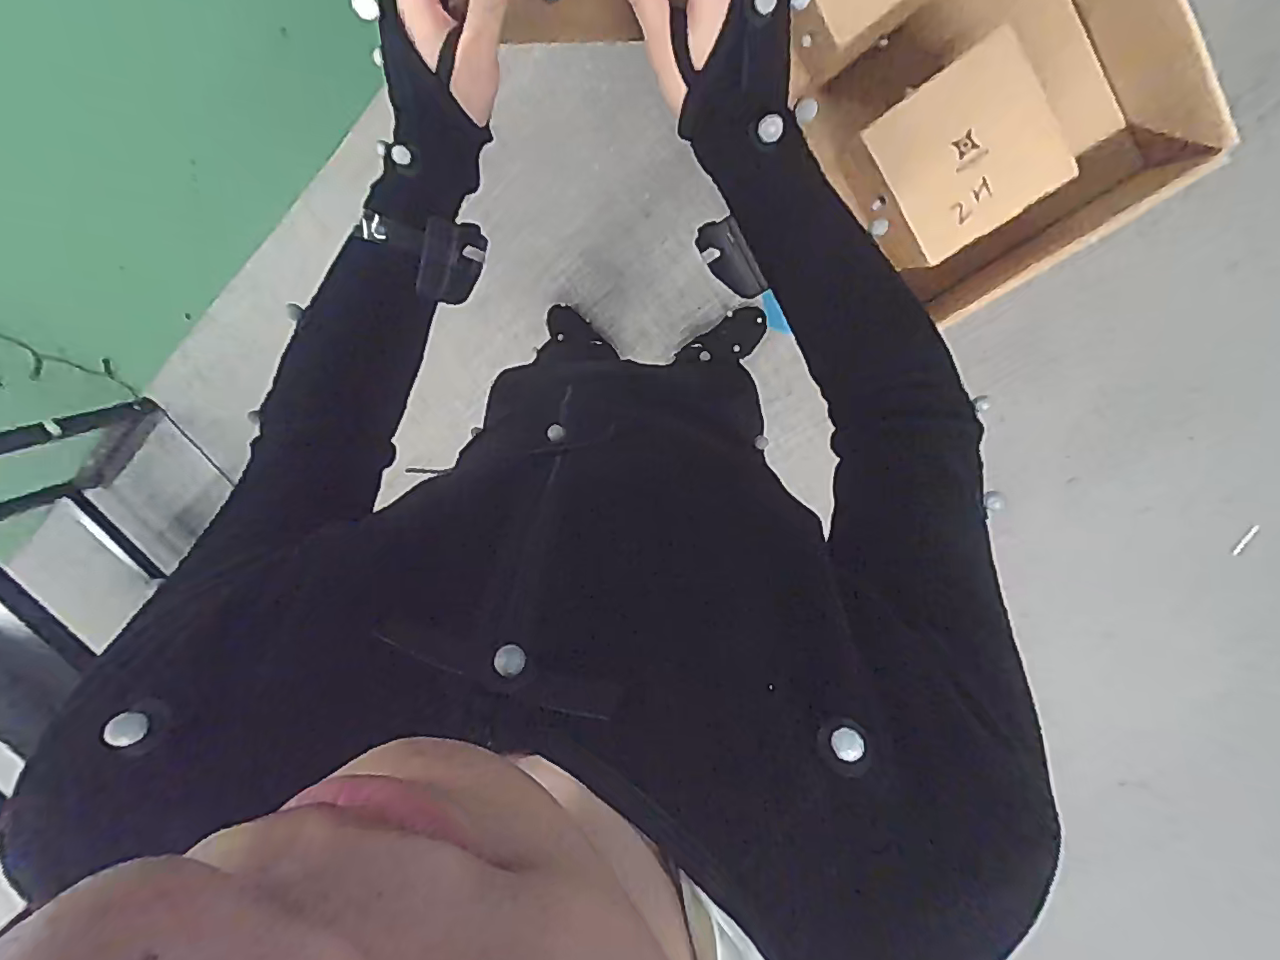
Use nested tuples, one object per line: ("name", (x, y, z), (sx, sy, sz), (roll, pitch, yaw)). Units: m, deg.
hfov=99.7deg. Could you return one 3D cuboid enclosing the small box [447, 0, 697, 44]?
("small box", (-0.047, -0.385, 0.308), (0.179, 0.176, 0.168), (4, 107, 9))
